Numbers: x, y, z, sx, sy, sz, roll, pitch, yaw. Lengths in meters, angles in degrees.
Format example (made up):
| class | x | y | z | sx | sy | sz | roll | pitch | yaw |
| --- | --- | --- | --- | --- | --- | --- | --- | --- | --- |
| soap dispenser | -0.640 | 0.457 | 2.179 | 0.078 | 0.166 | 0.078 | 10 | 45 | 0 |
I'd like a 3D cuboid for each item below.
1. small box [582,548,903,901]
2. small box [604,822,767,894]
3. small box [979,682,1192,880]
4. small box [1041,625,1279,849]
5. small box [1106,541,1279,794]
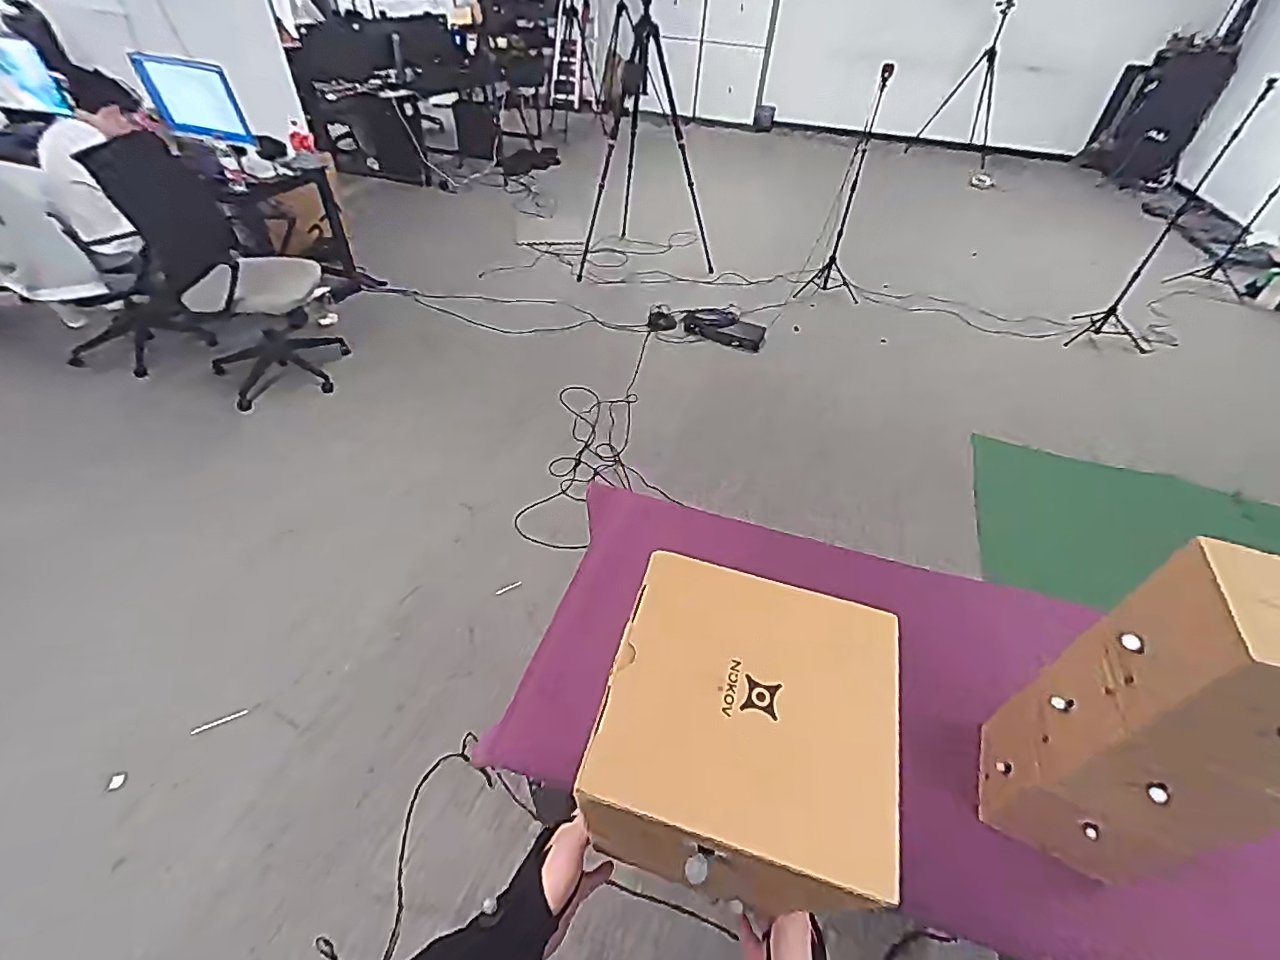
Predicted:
| class | x | y | z | sx | sy | sz | roll | pitch | yaw |
| --- | --- | --- | --- | --- | --- | --- | --- | --- | --- |
| small box | 0.071 | 0.180 | 0.398 | 0.179 | 0.176 | 0.168 | 14 | 52 | 10 |
| small box | 0.067 | 0.376 | 0.660 | 0.179 | 0.176 | 0.168 | 15 | 52 | 11 |
| small box | 0.622 | 0.437 | 0.783 | 0.179 | 0.176 | 0.168 | 23 | 46 | 18 |
| small box | 0.631 | 0.319 | 0.671 | 0.179 | 0.176 | 0.168 | 19 | 46 | 17 |
| small box | 0.642 | 0.199 | 0.559 | 0.179 | 0.176 | 0.168 | 19 | 45 | 16 |
